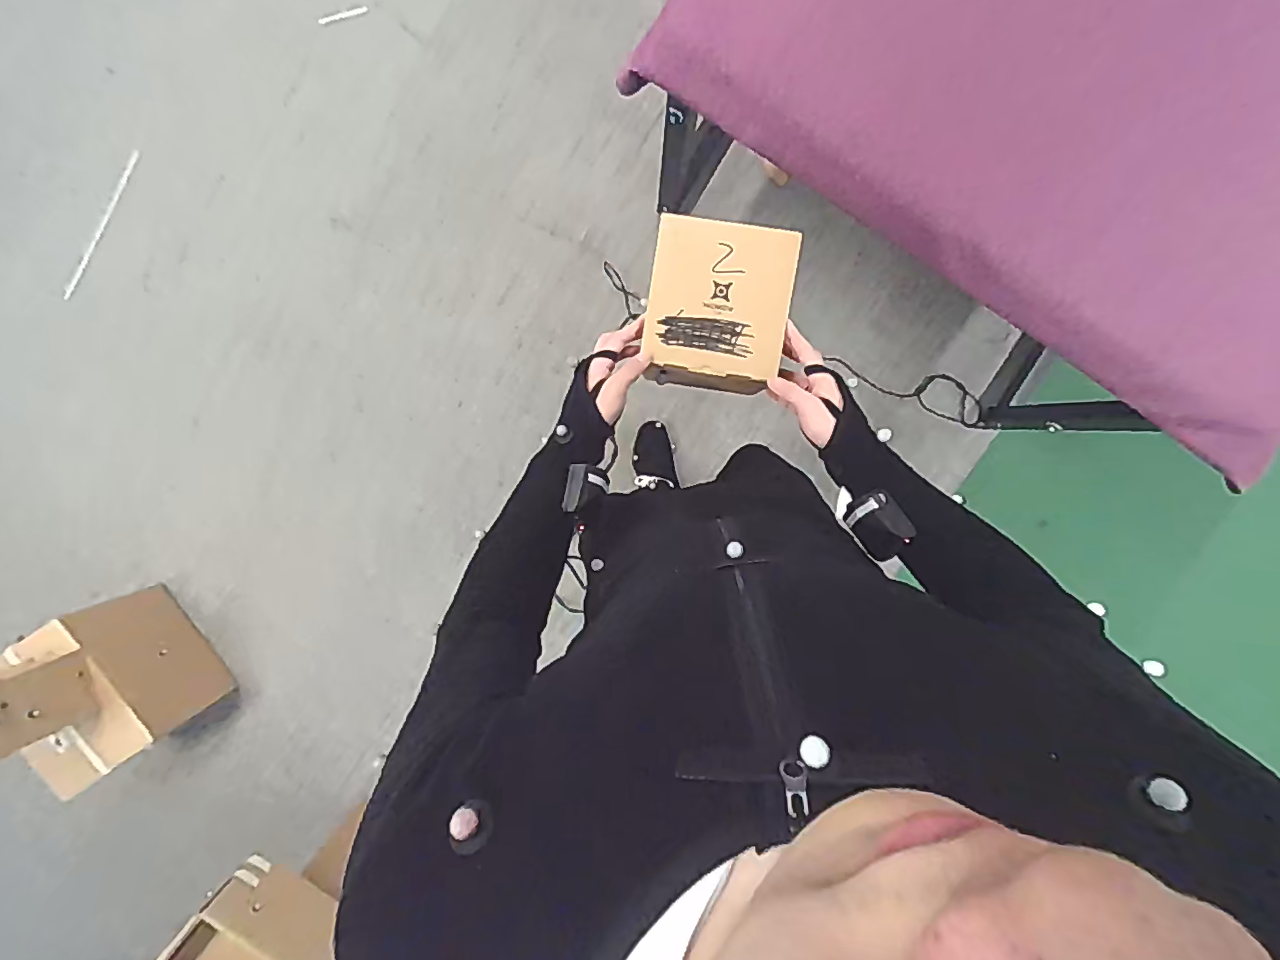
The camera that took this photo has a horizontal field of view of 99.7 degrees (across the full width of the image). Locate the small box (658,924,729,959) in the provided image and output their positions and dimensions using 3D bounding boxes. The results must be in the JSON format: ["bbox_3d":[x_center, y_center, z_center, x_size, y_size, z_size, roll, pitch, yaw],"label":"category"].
[{"bbox_3d":[0.146,1.272,1.364,0.168,0.176,0.179,-18,96,3],"label":"small box"}]

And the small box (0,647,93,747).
[{"bbox_3d":[-1.473,0.517,1.275,0.179,0.176,0.168,-14,96,1],"label":"small box"}]

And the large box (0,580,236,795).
[{"bbox_3d":[-1.487,0.561,1.525,0.320,0.320,0.408,-34,96,4],"label":"large box"}]

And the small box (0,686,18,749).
[{"bbox_3d":[-1.472,0.532,1.109,0.179,0.176,0.168,-15,96,-1],"label":"small box"}]
